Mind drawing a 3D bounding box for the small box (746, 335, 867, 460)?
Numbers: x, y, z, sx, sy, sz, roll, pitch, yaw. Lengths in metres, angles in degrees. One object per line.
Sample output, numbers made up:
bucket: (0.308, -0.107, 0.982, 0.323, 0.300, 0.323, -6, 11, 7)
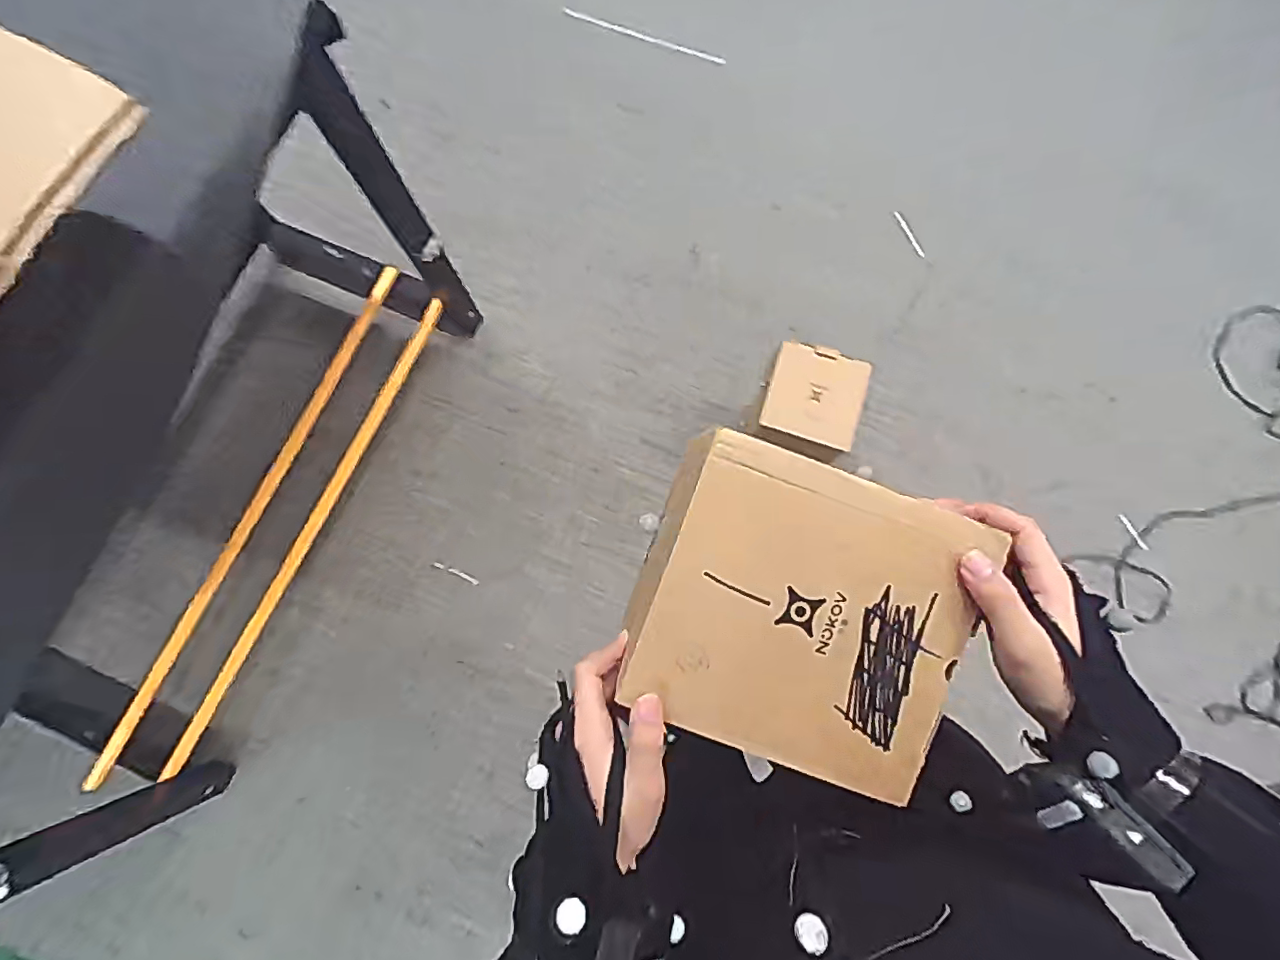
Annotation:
small box: (0.310, -0.146, 1.045, 0.168, 0.176, 0.179, 17, 80, 4)

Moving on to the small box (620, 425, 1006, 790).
small box: (0.098, 0.070, 0.386, 0.179, 0.176, 0.168, 22, 92, 0)
